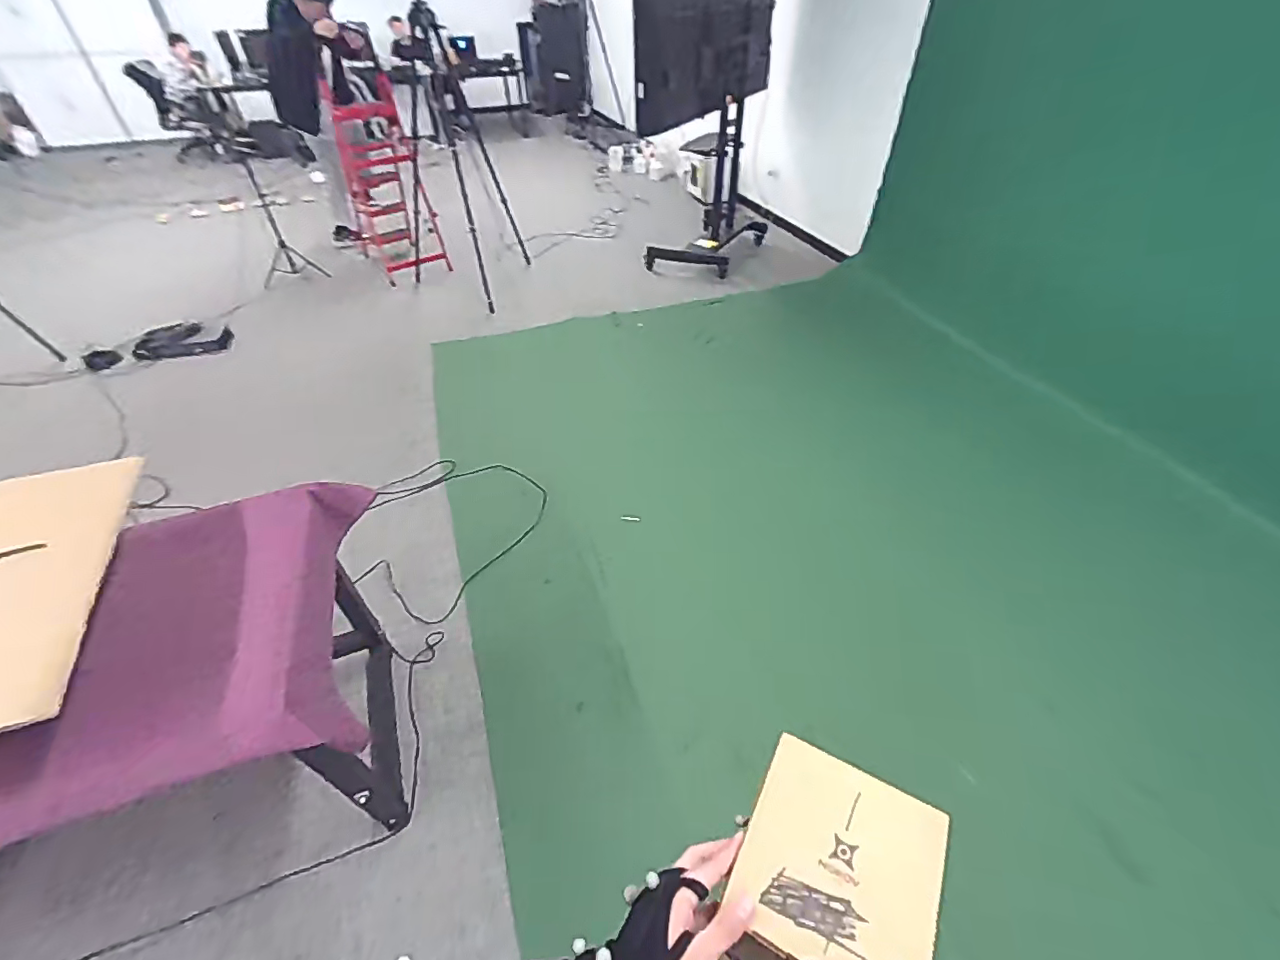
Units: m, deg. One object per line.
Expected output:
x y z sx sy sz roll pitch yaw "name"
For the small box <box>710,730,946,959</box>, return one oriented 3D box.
0.178 0.399 0.540 0.168 0.176 0.179 21 46 21 "small box"
